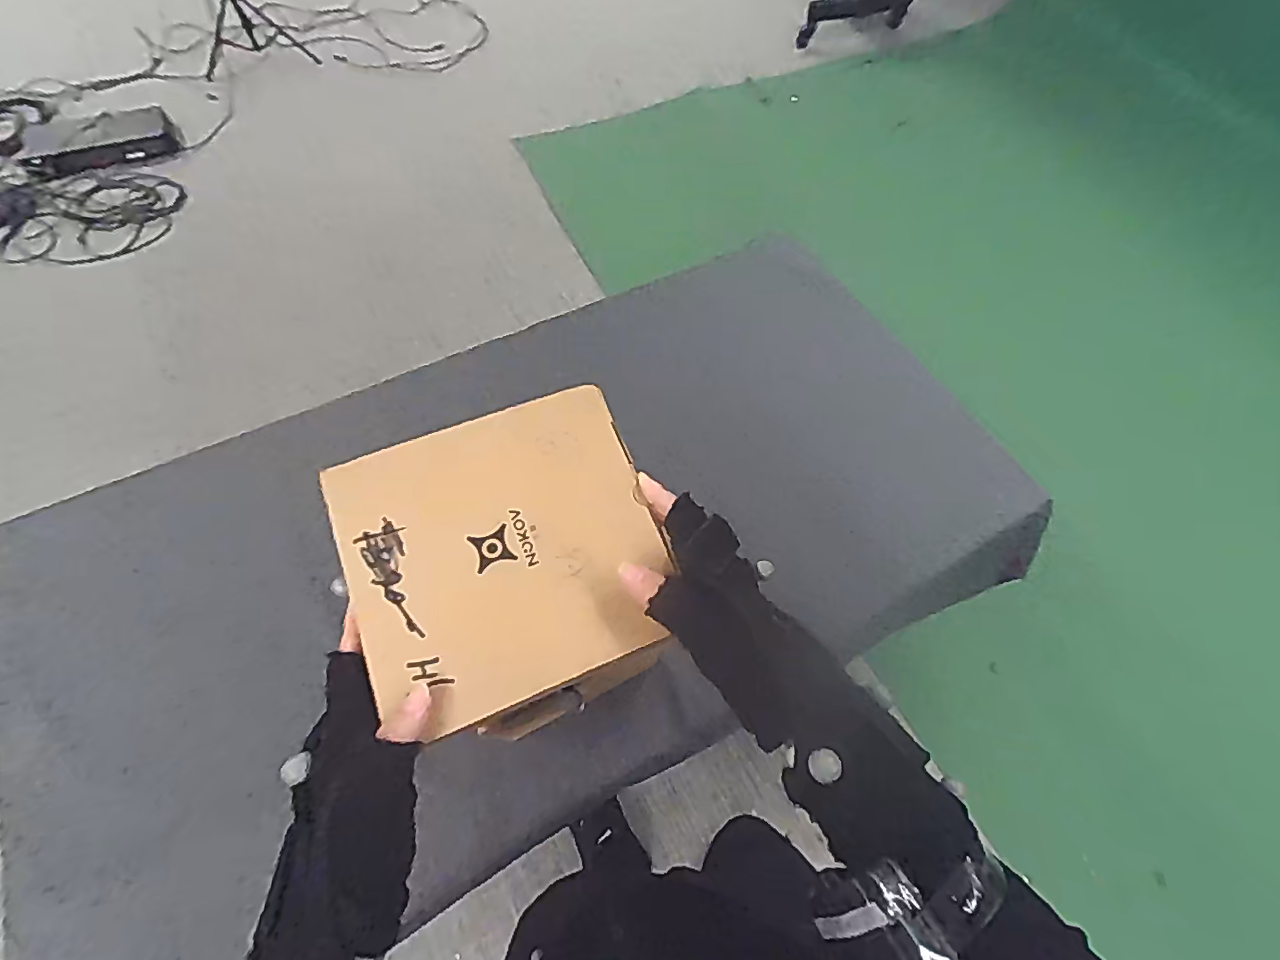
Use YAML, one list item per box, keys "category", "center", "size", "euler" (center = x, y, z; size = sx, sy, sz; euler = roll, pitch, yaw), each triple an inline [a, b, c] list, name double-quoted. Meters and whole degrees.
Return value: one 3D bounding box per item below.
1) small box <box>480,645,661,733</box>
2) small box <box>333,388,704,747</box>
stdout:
- category: "small box"
  center: [-0.092, 0.142, 0.561]
  size: [0.179, 0.176, 0.168]
  euler: [-24, 67, -14]
- category: "small box"
  center: [-0.080, 0.064, 0.385]
  size: [0.179, 0.176, 0.168]
  euler: [-19, 72, -13]
